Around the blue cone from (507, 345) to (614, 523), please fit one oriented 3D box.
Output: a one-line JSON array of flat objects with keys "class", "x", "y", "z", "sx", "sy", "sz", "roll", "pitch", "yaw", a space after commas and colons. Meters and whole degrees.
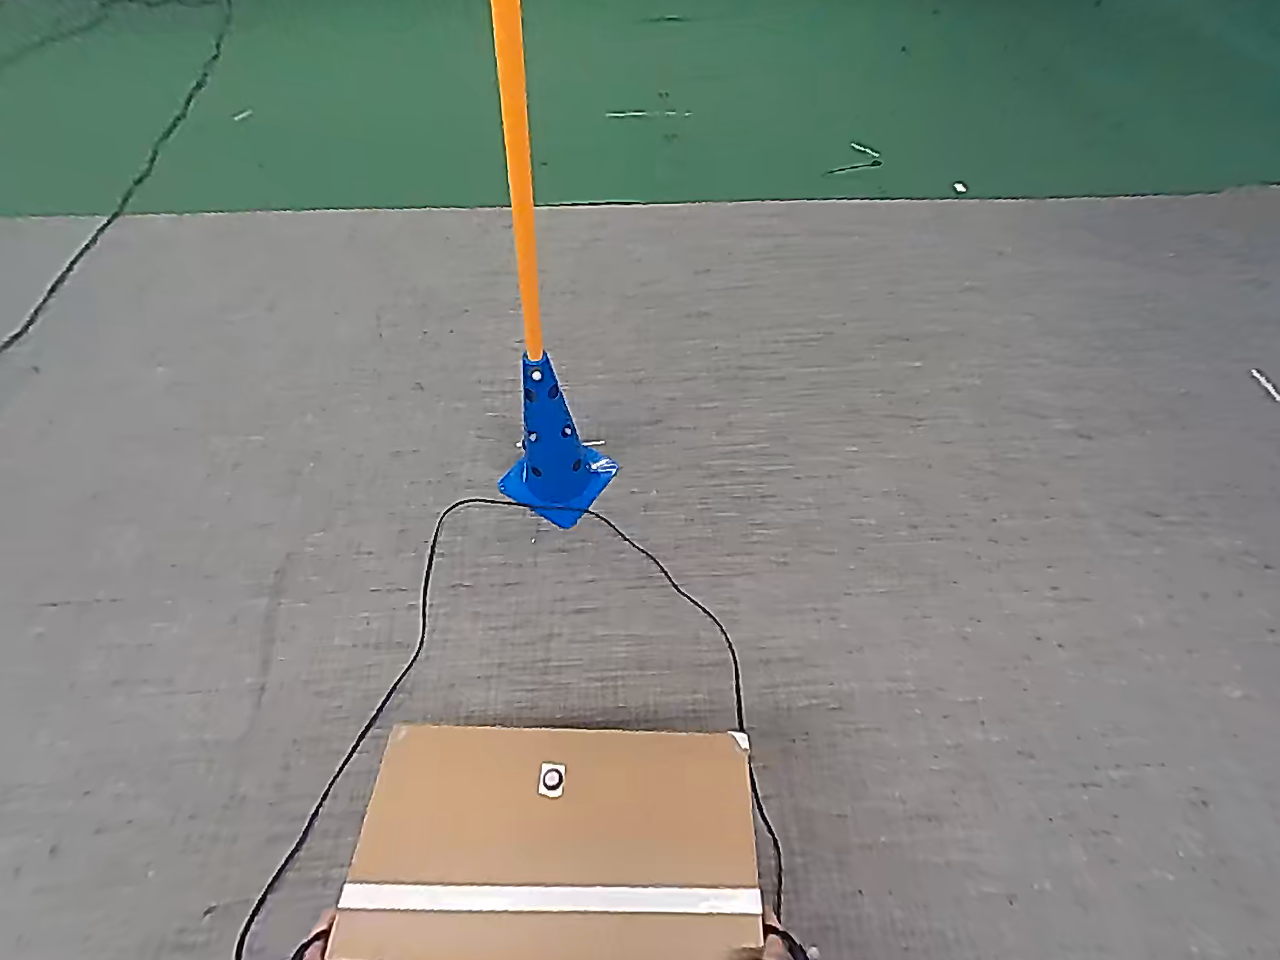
[{"class": "blue cone", "x": -0.166, "y": -0.103, "z": 1.027, "sx": 0.192, "sy": 0.380, "sz": 0.193, "roll": 26, "pitch": 58, "yaw": 15}]
